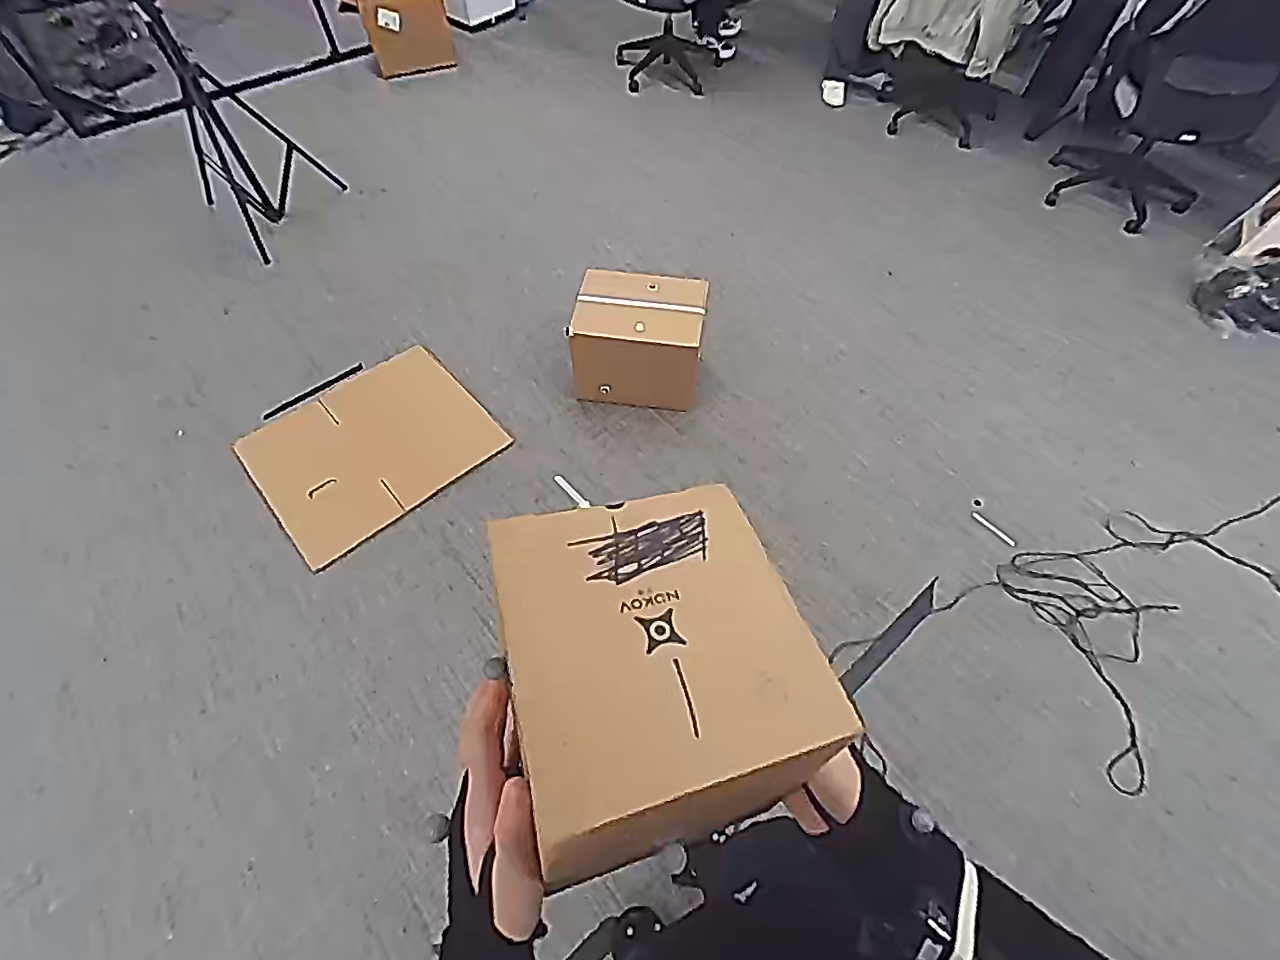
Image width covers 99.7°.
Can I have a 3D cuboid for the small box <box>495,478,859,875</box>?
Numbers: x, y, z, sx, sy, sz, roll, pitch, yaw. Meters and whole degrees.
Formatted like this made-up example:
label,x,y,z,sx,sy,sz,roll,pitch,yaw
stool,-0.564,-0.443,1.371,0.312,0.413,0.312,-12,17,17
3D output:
label,x,y,z,sx,sy,sz,roll,pitch,yaw
small box,0.000,0.126,0.361,0.168,0.176,0.179,-9,50,-17
